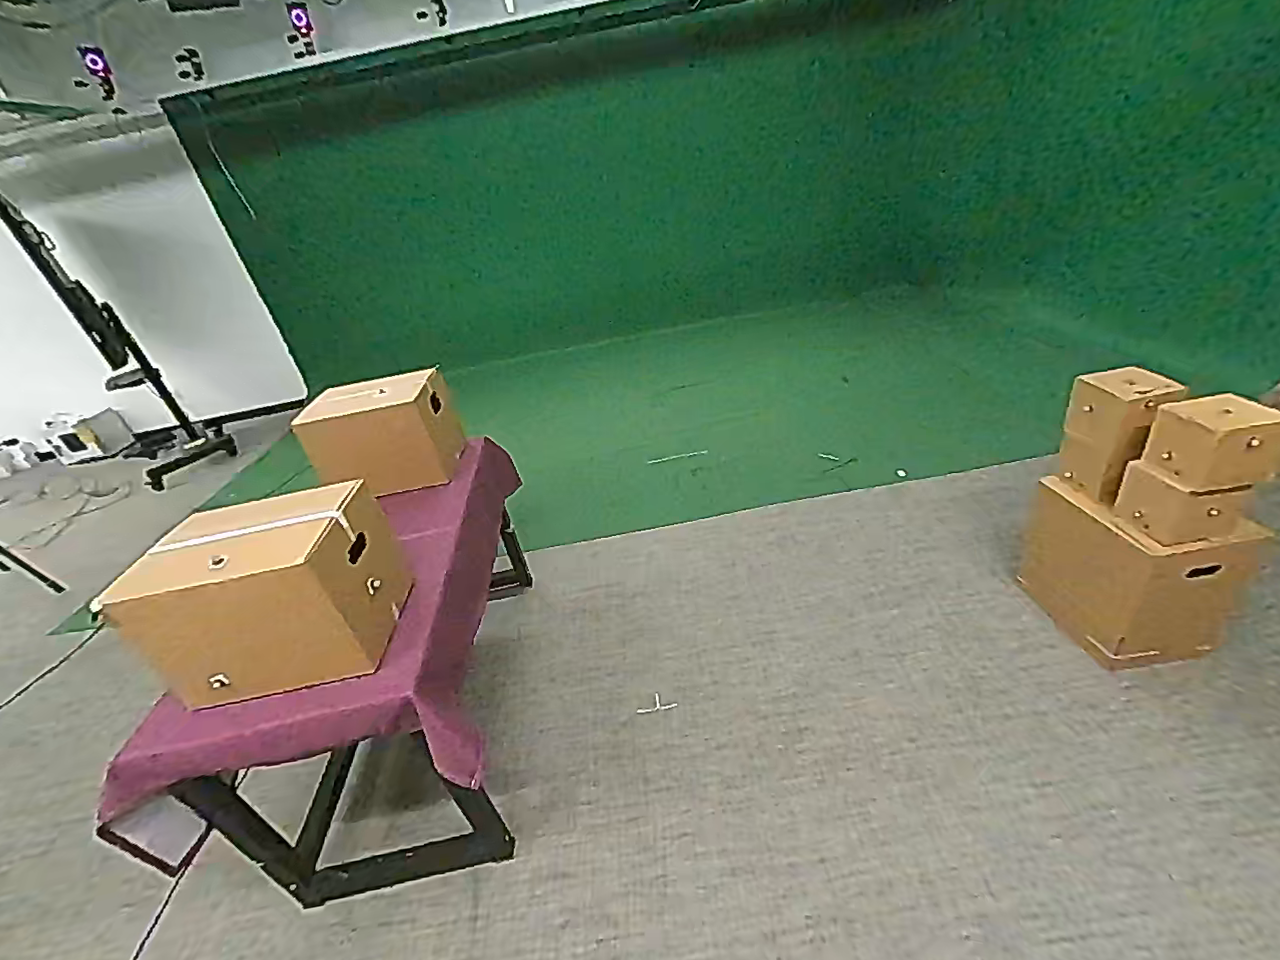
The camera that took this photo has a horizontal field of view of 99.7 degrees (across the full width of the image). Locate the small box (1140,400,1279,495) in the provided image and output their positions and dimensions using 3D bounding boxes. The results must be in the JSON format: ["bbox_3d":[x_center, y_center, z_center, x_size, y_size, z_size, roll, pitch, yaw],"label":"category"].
[{"bbox_3d":[1.413,-0.081,1.343,0.179,0.176,0.168,-9,29,3],"label":"small box"}]

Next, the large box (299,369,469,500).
[{"bbox_3d":[-0.863,-0.163,1.886,0.408,0.320,0.320,-10,31,1],"label":"large box"}]
